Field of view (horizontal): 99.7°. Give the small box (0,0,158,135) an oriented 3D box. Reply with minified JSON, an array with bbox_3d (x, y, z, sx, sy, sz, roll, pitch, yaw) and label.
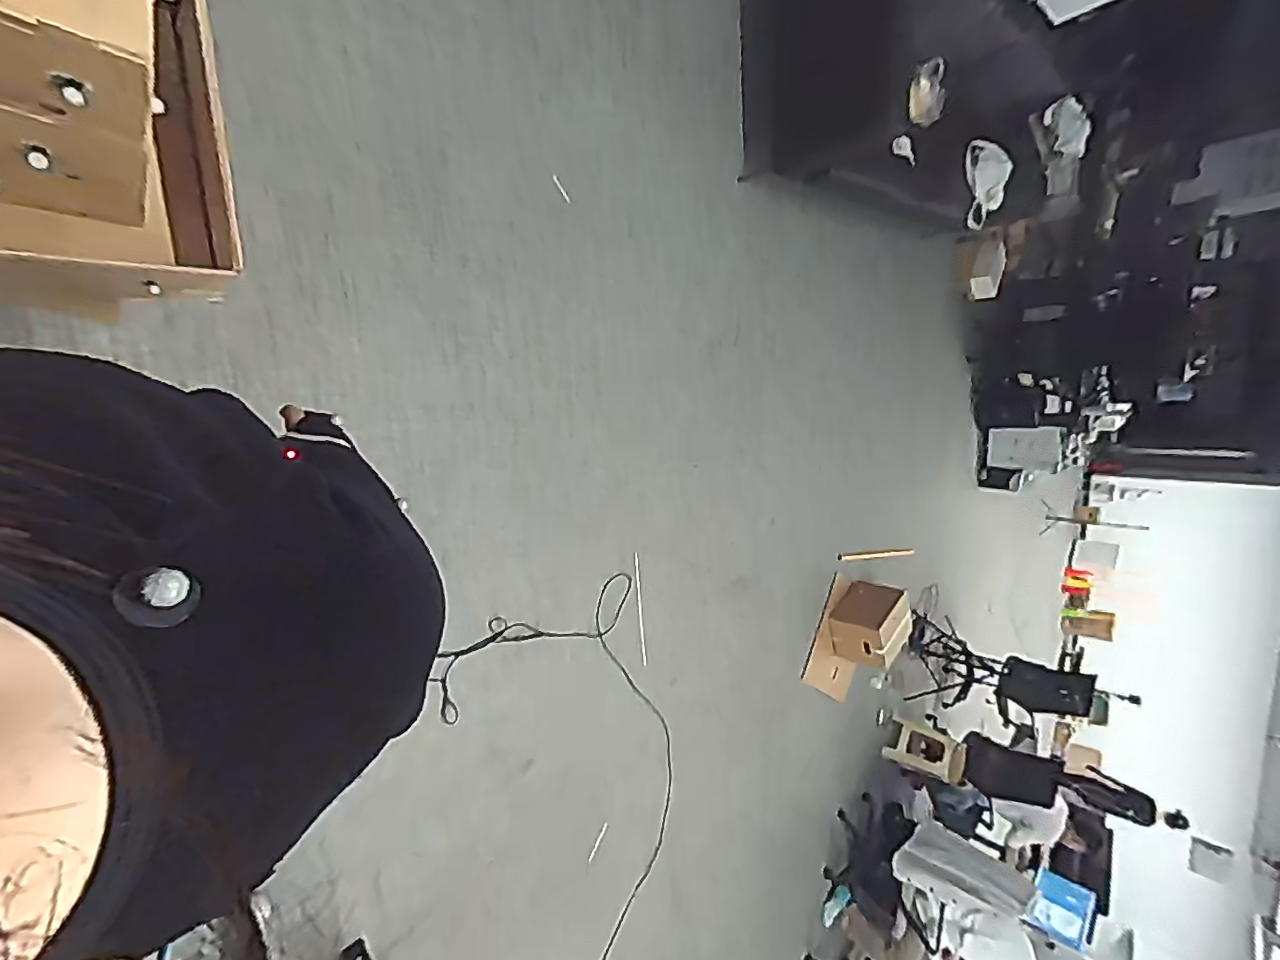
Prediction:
[{"bbox_3d":[-0.473,-0.403,0.406,0.168,0.176,0.179,0,94,-43],"label":"small box"}]

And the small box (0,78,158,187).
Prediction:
[{"bbox_3d":[-0.583,-0.416,0.527,0.168,0.176,0.179,-3,98,-43],"label":"small box"}]
